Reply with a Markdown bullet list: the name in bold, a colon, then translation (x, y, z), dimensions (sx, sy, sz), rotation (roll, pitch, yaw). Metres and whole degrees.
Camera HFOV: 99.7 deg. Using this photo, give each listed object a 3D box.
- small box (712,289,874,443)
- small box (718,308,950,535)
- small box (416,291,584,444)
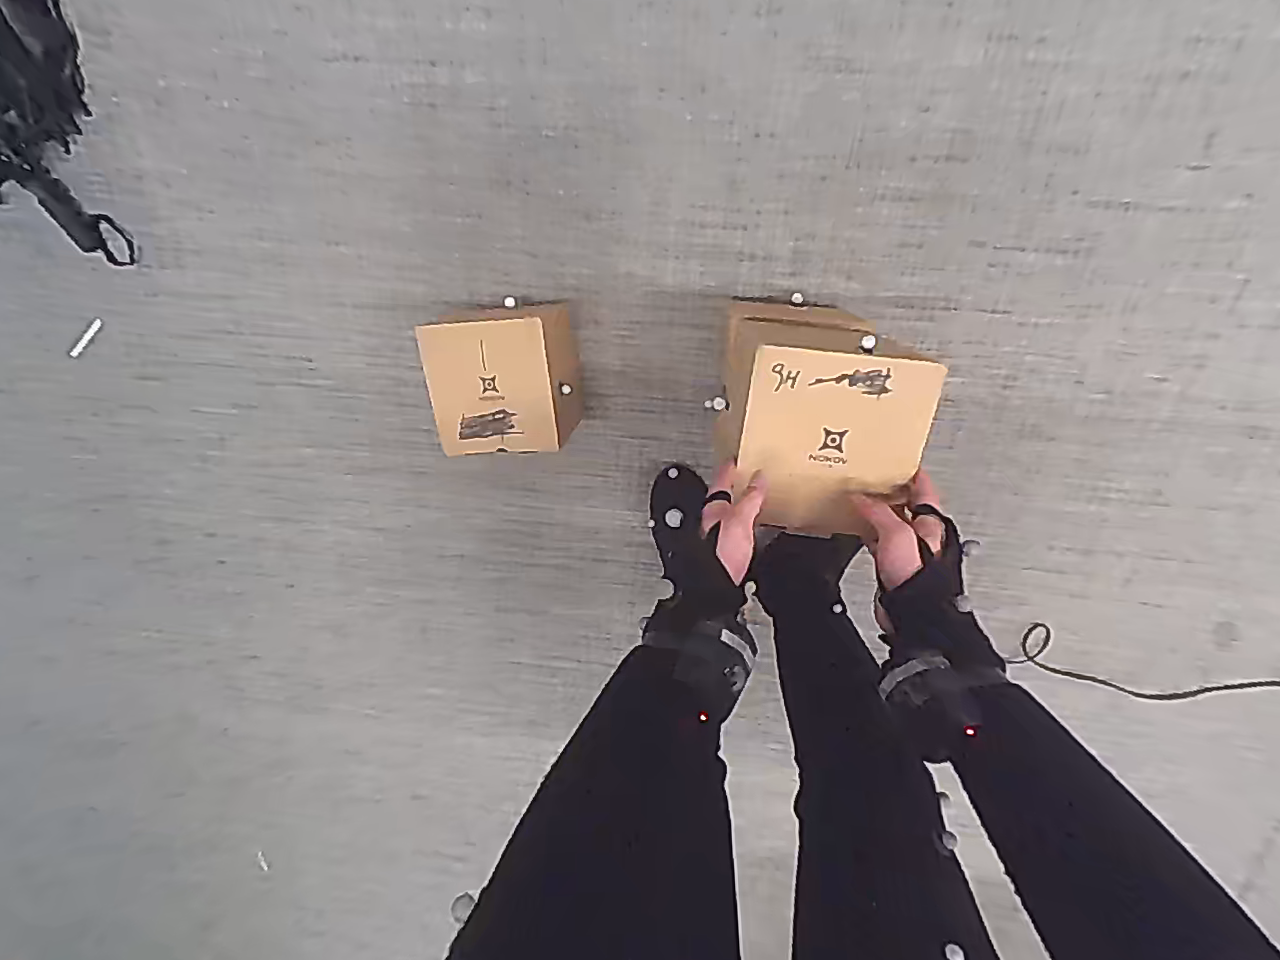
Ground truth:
- **small box**: translation (0.188, -0.150, 0.721), dimensions (0.168, 0.176, 0.179), rotation (5, 114, 4)
- **small box**: translation (0.177, -0.068, 0.561), dimensions (0.168, 0.176, 0.179), rotation (7, 115, 1)
- **small box**: translation (-0.181, -0.162, 0.761), dimensions (0.168, 0.176, 0.179), rotation (-1, 114, 7)
